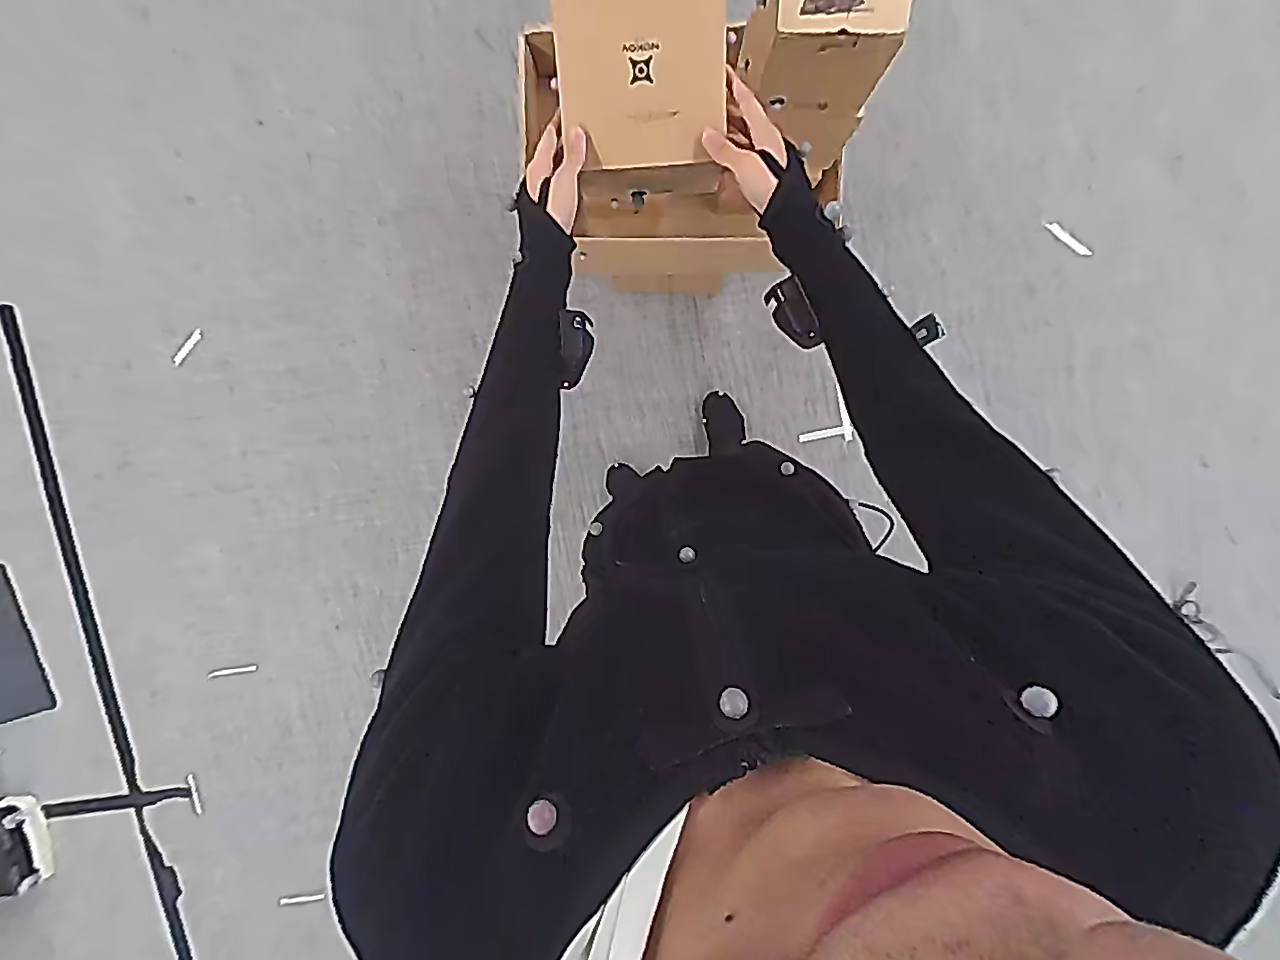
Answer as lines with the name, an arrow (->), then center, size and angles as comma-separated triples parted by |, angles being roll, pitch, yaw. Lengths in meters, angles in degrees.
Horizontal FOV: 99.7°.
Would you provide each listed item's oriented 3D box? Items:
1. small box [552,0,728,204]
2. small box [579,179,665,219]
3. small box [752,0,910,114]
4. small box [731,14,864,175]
small box -> 0.005, -0.416, 0.587 | 0.168, 0.176, 0.179 | -1, 108, 5
small box -> -0.032, -0.636, 1.076 | 0.168, 0.176, 0.179 | -2, 94, 0
small box -> 0.253, -0.636, 0.739 | 0.168, 0.176, 0.179 | 2, 94, 1
small box -> 0.256, -0.634, 0.905 | 0.179, 0.176, 0.168 | -2, 94, 0
